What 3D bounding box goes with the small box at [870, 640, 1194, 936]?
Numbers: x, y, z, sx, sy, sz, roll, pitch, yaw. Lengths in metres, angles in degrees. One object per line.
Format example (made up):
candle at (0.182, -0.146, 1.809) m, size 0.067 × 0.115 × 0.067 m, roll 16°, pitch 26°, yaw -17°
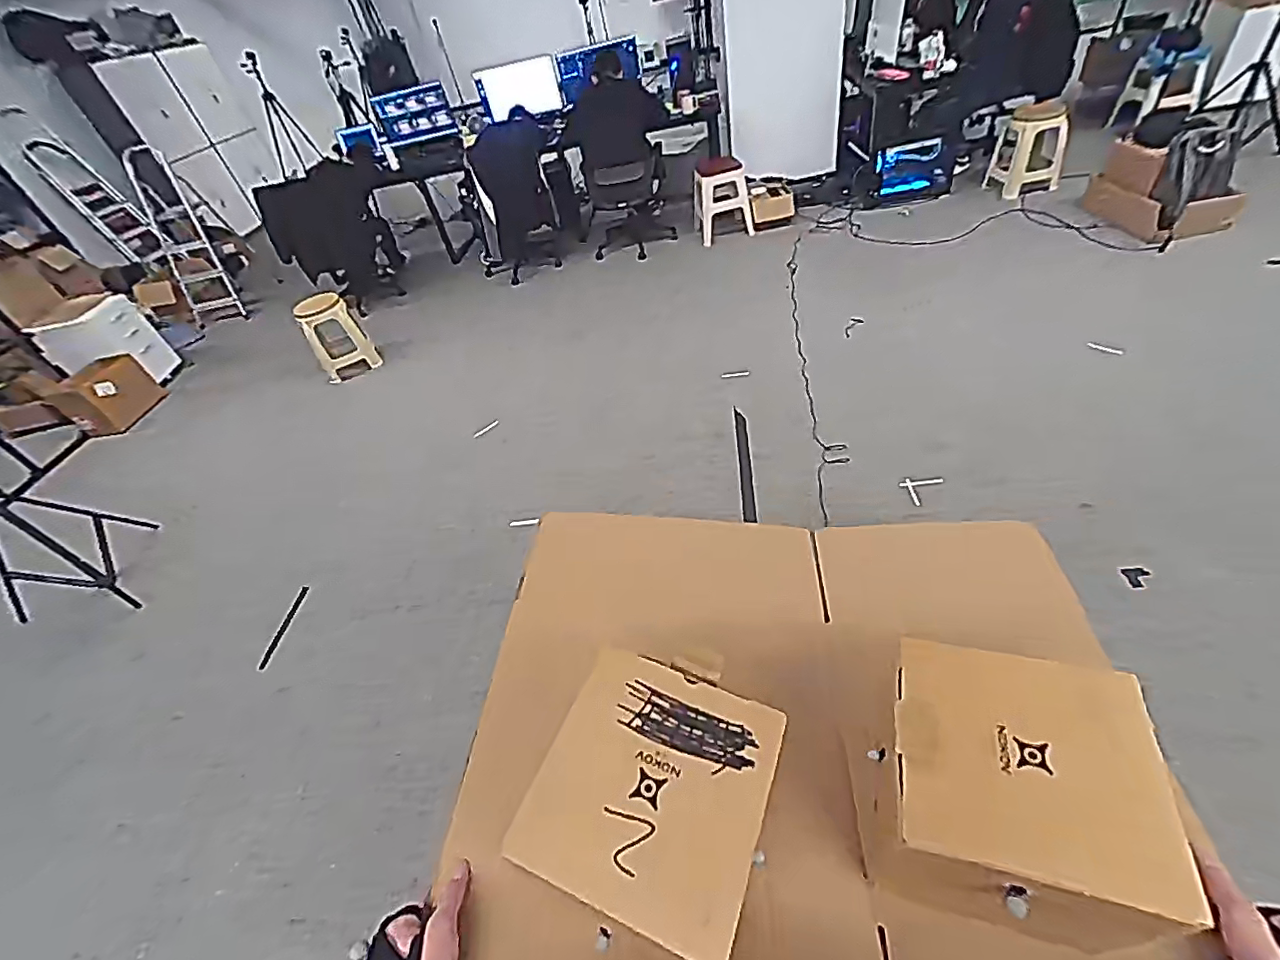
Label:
small box at (0.308, 0.268, 0.474) m, size 0.179 × 0.176 × 0.168 m, roll 5°, pitch 47°, yaw 20°
